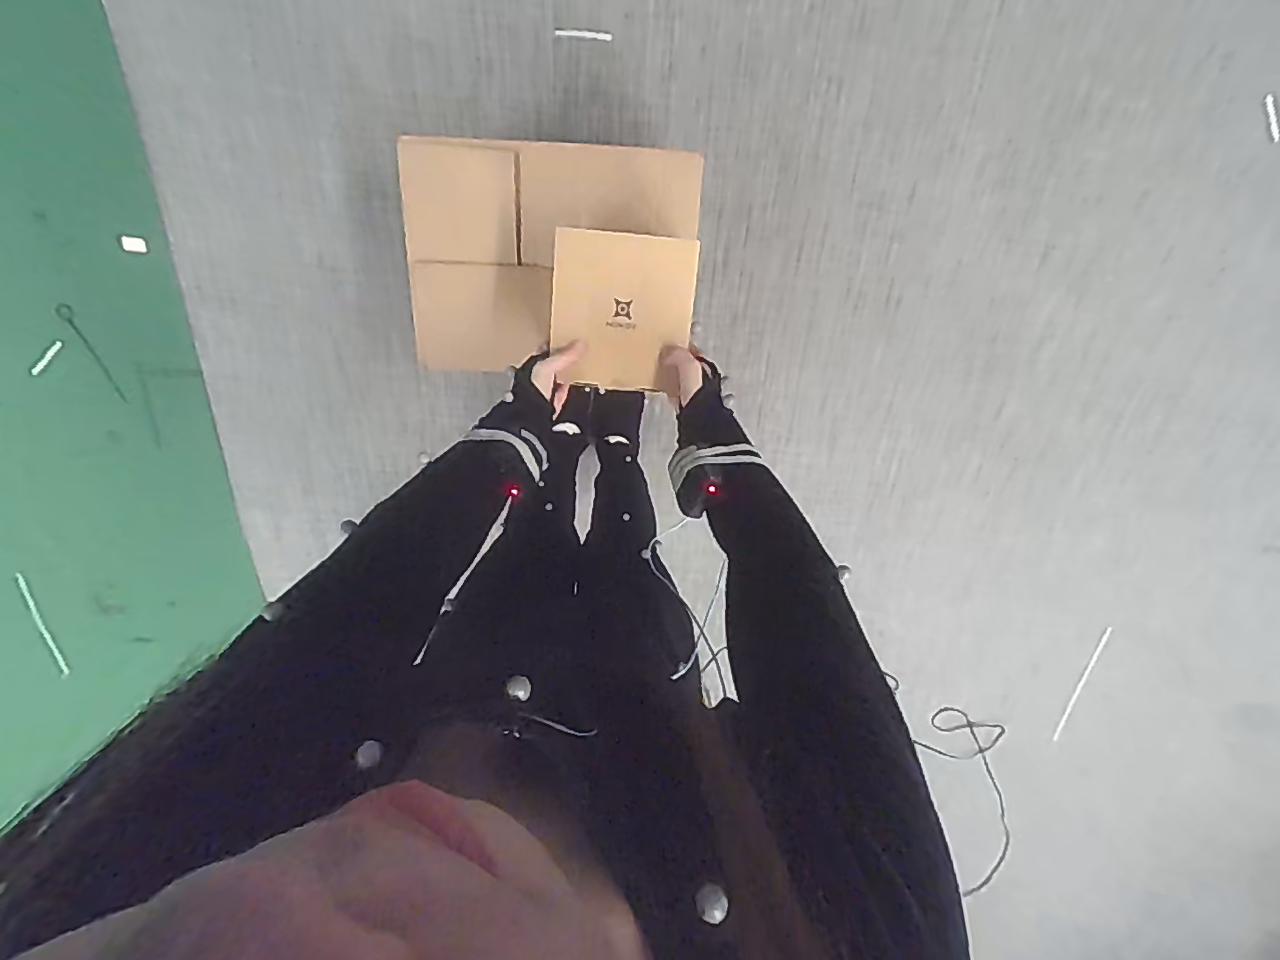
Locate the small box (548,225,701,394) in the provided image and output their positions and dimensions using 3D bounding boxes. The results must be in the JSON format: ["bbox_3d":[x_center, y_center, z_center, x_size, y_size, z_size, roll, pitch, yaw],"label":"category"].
[{"bbox_3d":[-0.023,-0.218,0.707,0.168,0.176,0.179,6,107,-3],"label":"small box"}]
